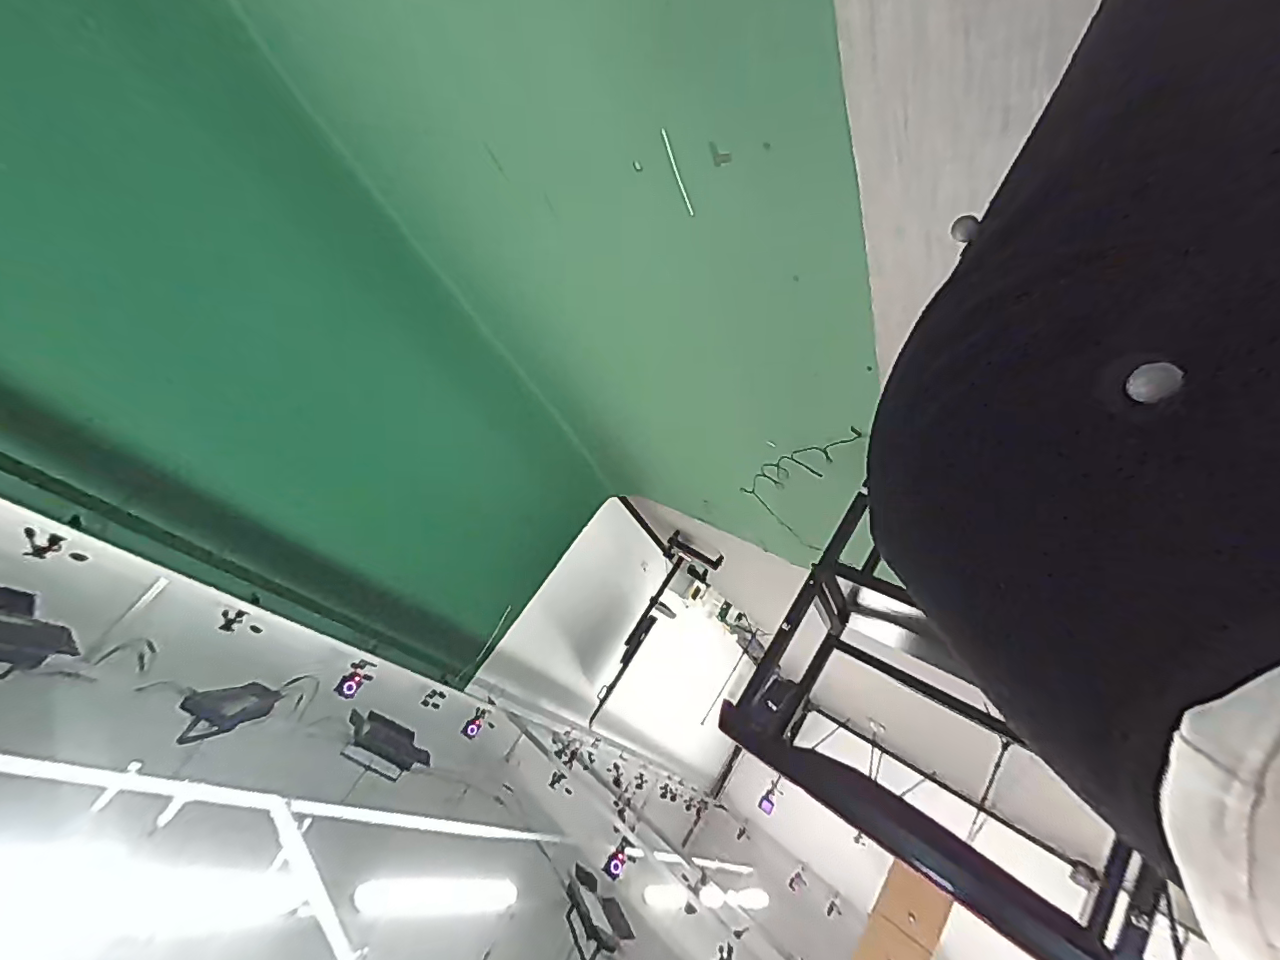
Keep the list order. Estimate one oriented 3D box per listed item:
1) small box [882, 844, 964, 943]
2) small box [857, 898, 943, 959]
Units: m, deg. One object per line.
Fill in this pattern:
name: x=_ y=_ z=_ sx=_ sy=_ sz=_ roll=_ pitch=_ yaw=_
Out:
small box: x=0.867 y=1.253 z=1.650 sx=0.179 sy=0.176 sz=0.168 roll=23 pitch=161 yaw=38
small box: x=0.774 y=1.382 z=1.609 sx=0.179 sy=0.176 sz=0.168 roll=22 pitch=161 yaw=38
